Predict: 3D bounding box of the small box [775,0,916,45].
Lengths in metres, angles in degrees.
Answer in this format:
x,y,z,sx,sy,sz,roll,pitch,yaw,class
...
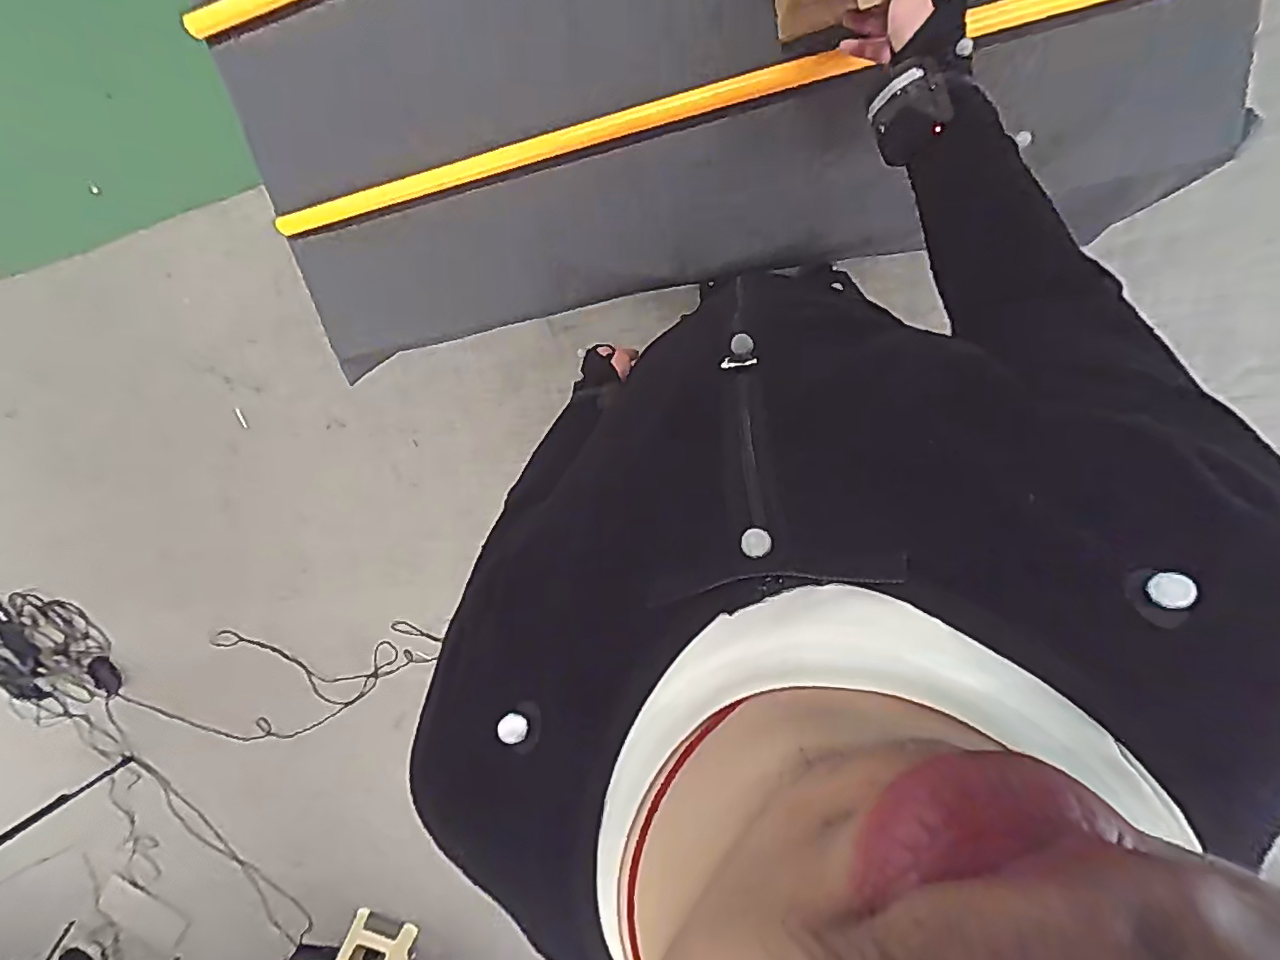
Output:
x,y,z,sx,sy,sz,roll,pitch,yaw,class
0.206,-0.558,0.519,0.168,0.176,0.179,-11,113,20,small box
